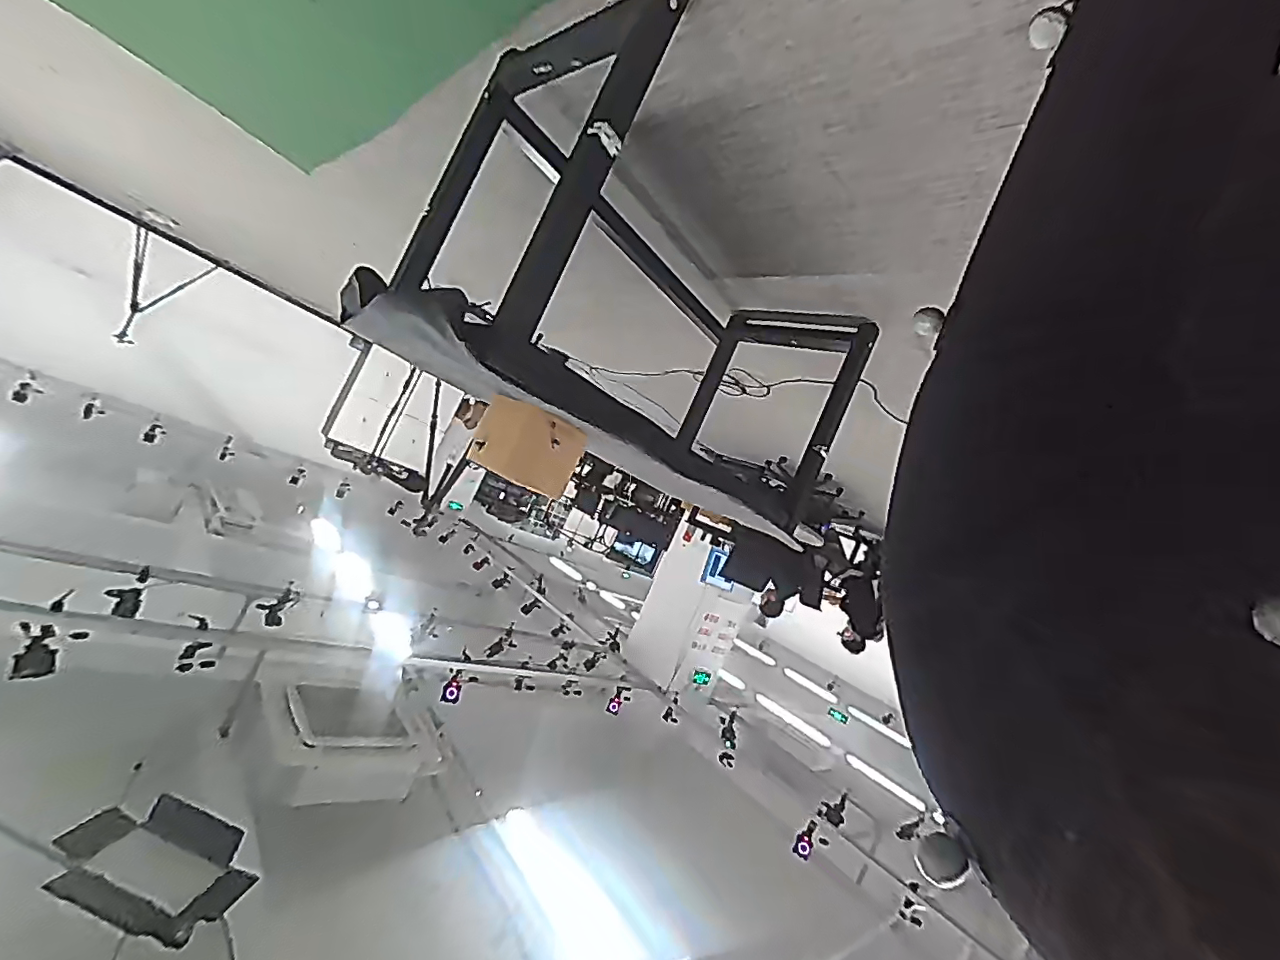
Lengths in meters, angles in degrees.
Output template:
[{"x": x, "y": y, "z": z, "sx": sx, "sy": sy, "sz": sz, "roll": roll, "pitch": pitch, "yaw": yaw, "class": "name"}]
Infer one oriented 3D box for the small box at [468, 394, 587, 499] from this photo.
[{"x": -0.249, "y": -0.080, "z": 1.220, "sx": 0.179, "sy": 0.176, "sz": 0.168, "roll": 21, "pitch": 176, "yaw": 45, "class": "small box"}]
